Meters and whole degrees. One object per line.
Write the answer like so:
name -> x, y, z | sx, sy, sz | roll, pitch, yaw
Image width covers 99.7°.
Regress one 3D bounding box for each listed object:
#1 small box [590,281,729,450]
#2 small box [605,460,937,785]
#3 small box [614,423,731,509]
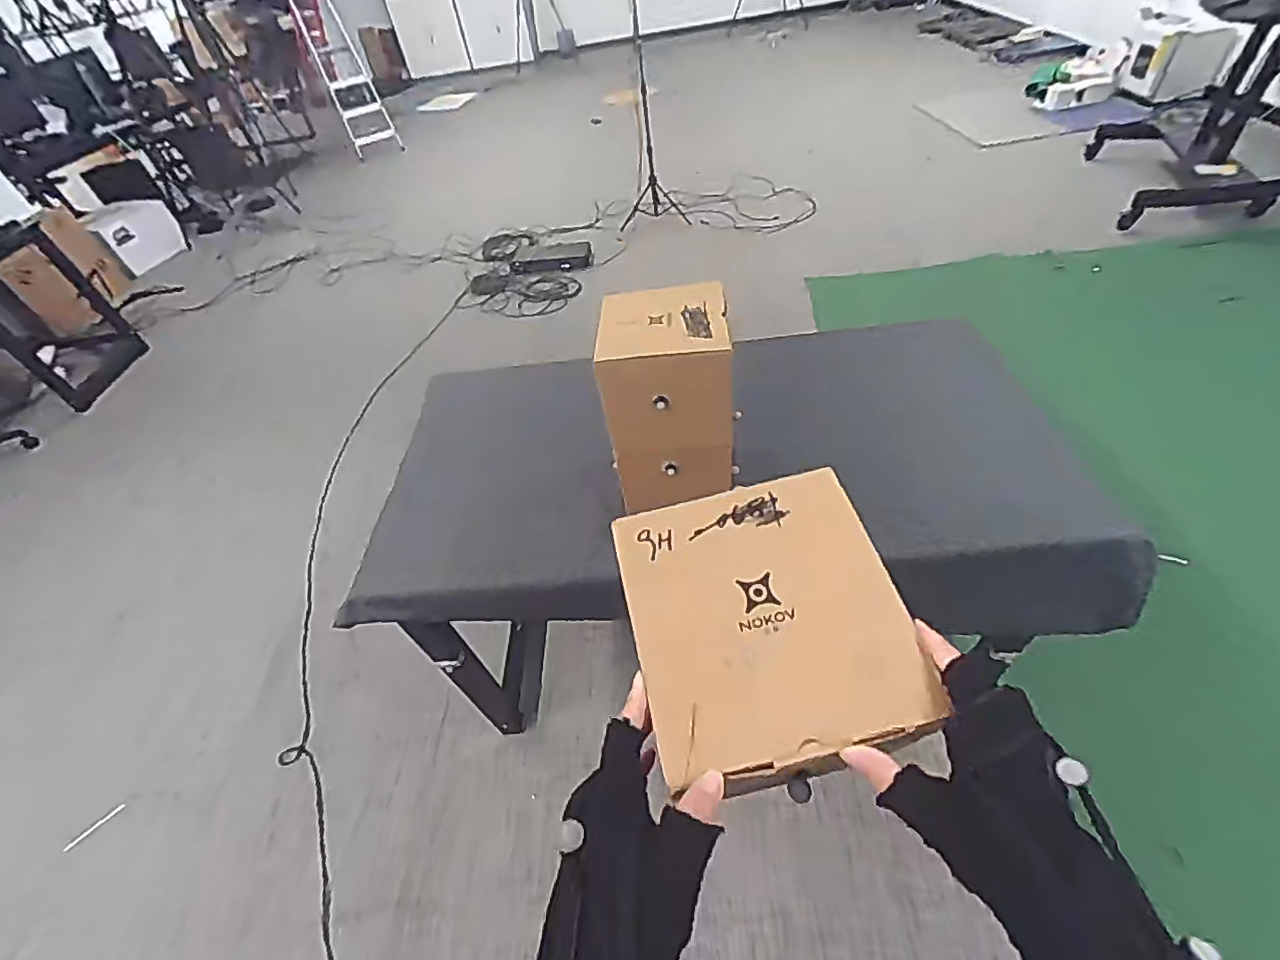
small box -> 0.037, -0.160, 0.780 | 0.179, 0.176, 0.168 | -5, 48, 8
small box -> 0.082, 0.117, 0.411 | 0.168, 0.176, 0.179 | -15, 57, 0
small box -> 0.059, -0.054, 0.904 | 0.179, 0.176, 0.168 | -4, 48, 6
